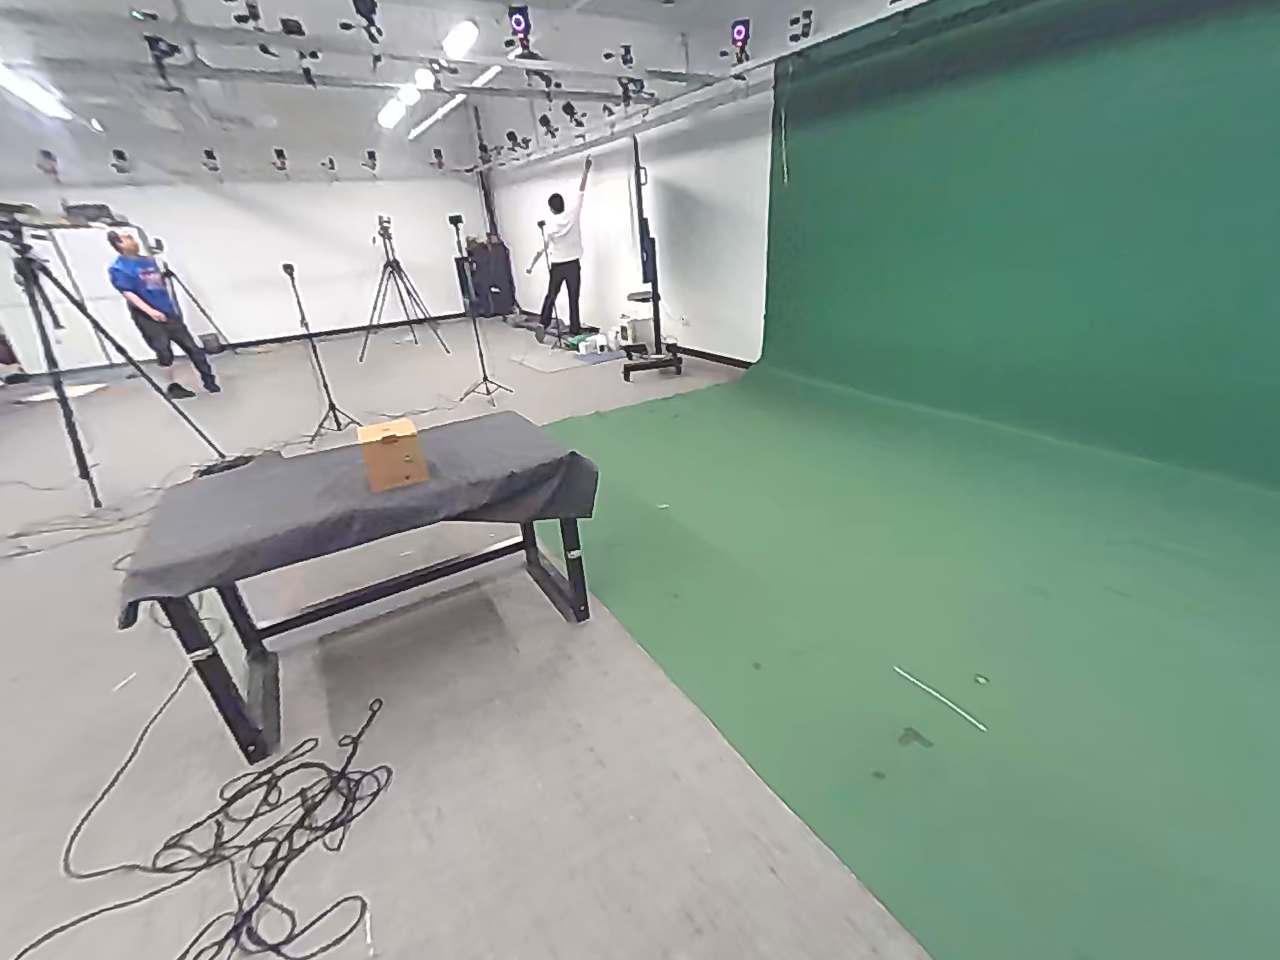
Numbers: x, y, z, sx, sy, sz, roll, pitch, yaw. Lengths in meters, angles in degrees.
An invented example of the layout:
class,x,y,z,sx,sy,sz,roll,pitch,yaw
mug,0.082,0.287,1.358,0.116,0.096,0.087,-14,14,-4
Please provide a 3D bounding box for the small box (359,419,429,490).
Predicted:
class,x,y,z,sx,sy,sz,roll,pitch,yaw
small box,-0.781,-0.078,1.719,0.168,0.176,0.179,-15,26,-25
